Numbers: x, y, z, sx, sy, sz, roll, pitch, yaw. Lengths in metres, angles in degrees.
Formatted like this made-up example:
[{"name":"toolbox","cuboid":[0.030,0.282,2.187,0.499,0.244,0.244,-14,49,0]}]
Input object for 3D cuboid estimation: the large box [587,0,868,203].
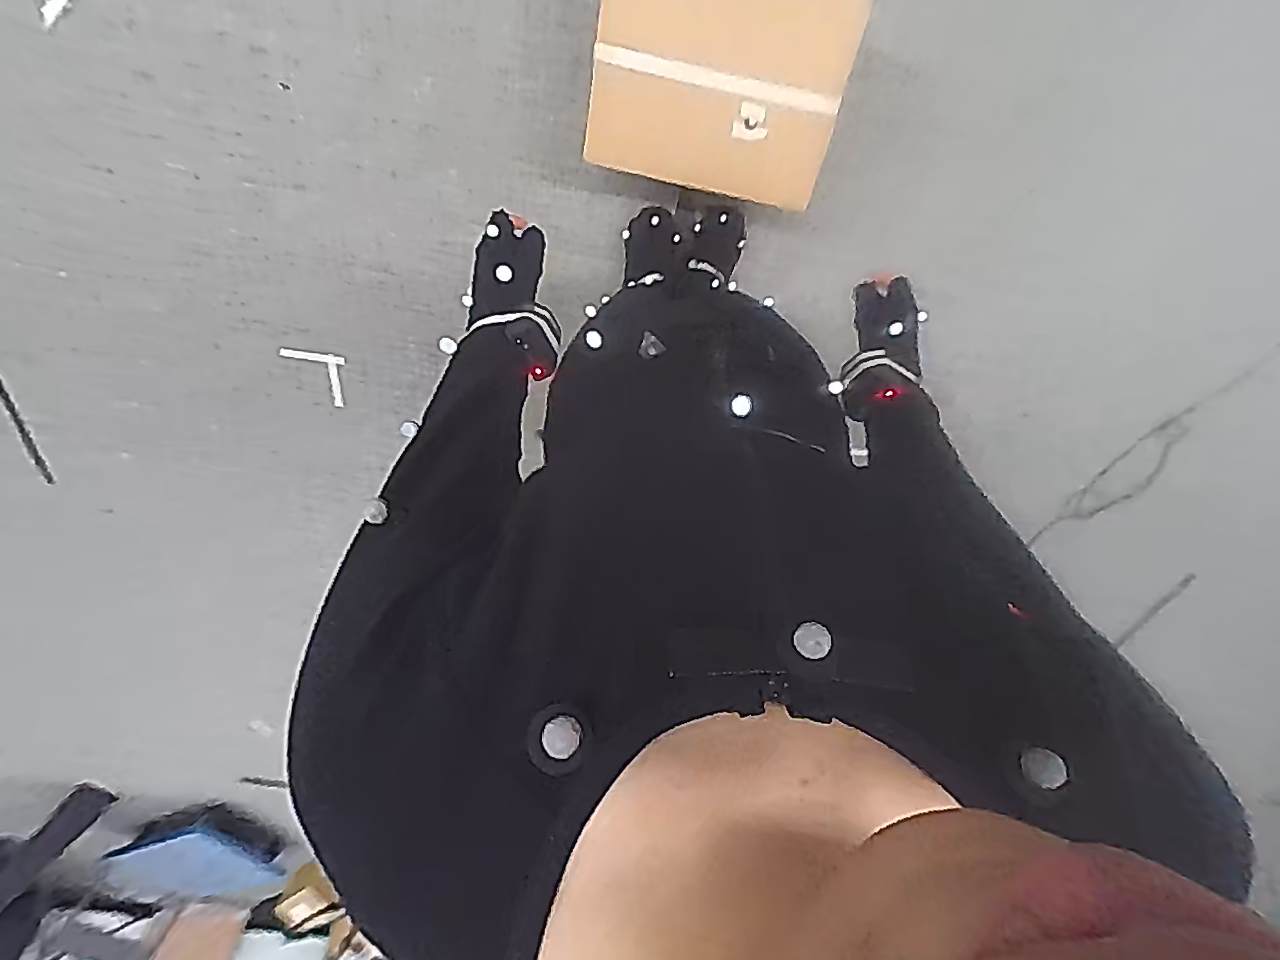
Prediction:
[{"name":"large box","cuboid":[0.129,-0.729,0.992,0.408,0.320,0.320,10,124,-5]}]
